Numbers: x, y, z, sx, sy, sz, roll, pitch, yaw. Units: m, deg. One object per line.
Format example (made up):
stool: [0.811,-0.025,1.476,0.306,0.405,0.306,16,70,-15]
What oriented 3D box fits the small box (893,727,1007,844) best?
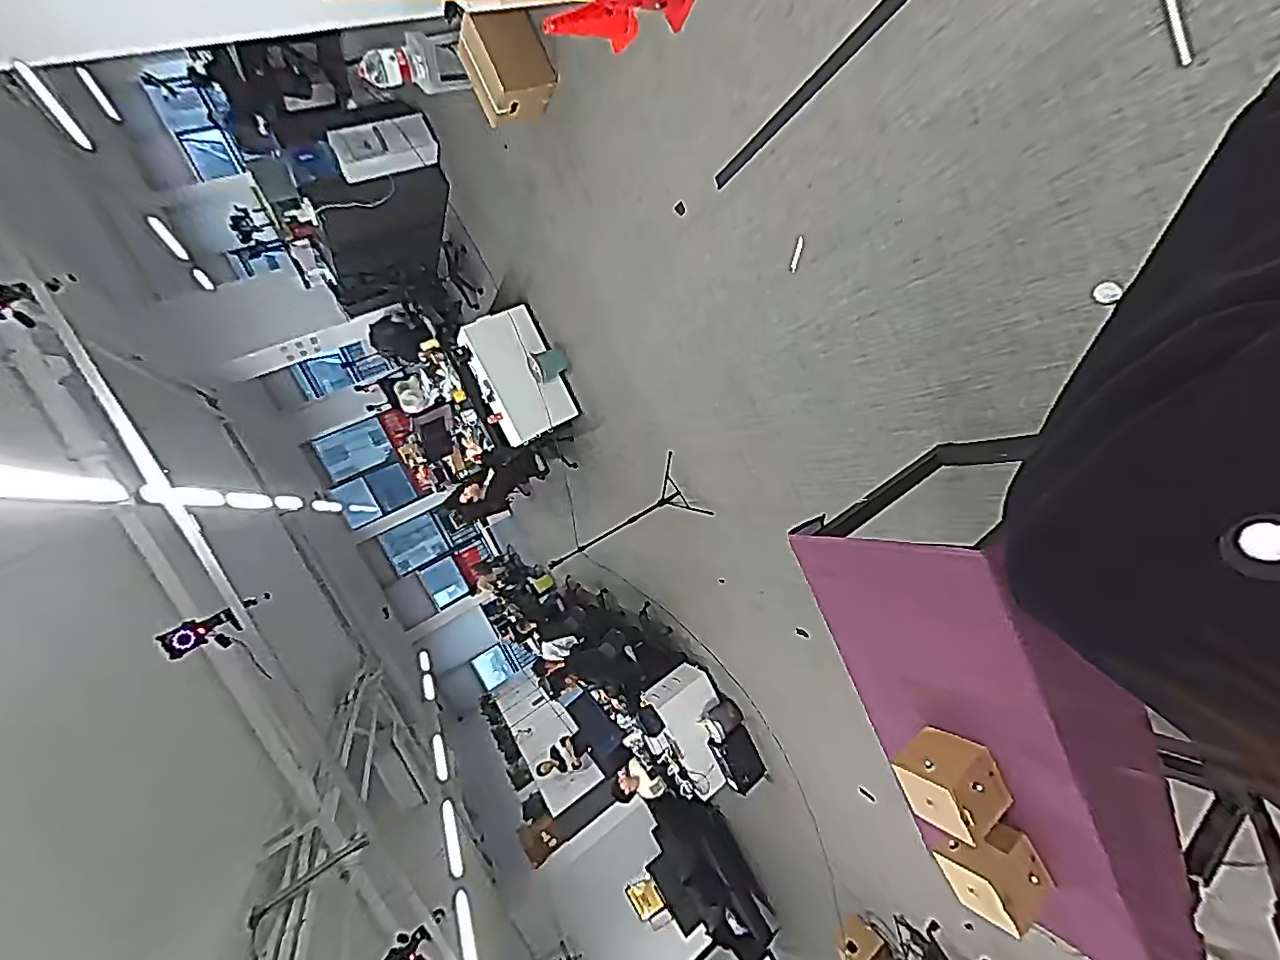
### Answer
small box: [0.802,0.771,1.388,0.168,0.176,0.179,64,158,-6]

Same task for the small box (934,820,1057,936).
small box: [0.925,1.011,1.410,0.168,0.176,0.179,60,158,0]
